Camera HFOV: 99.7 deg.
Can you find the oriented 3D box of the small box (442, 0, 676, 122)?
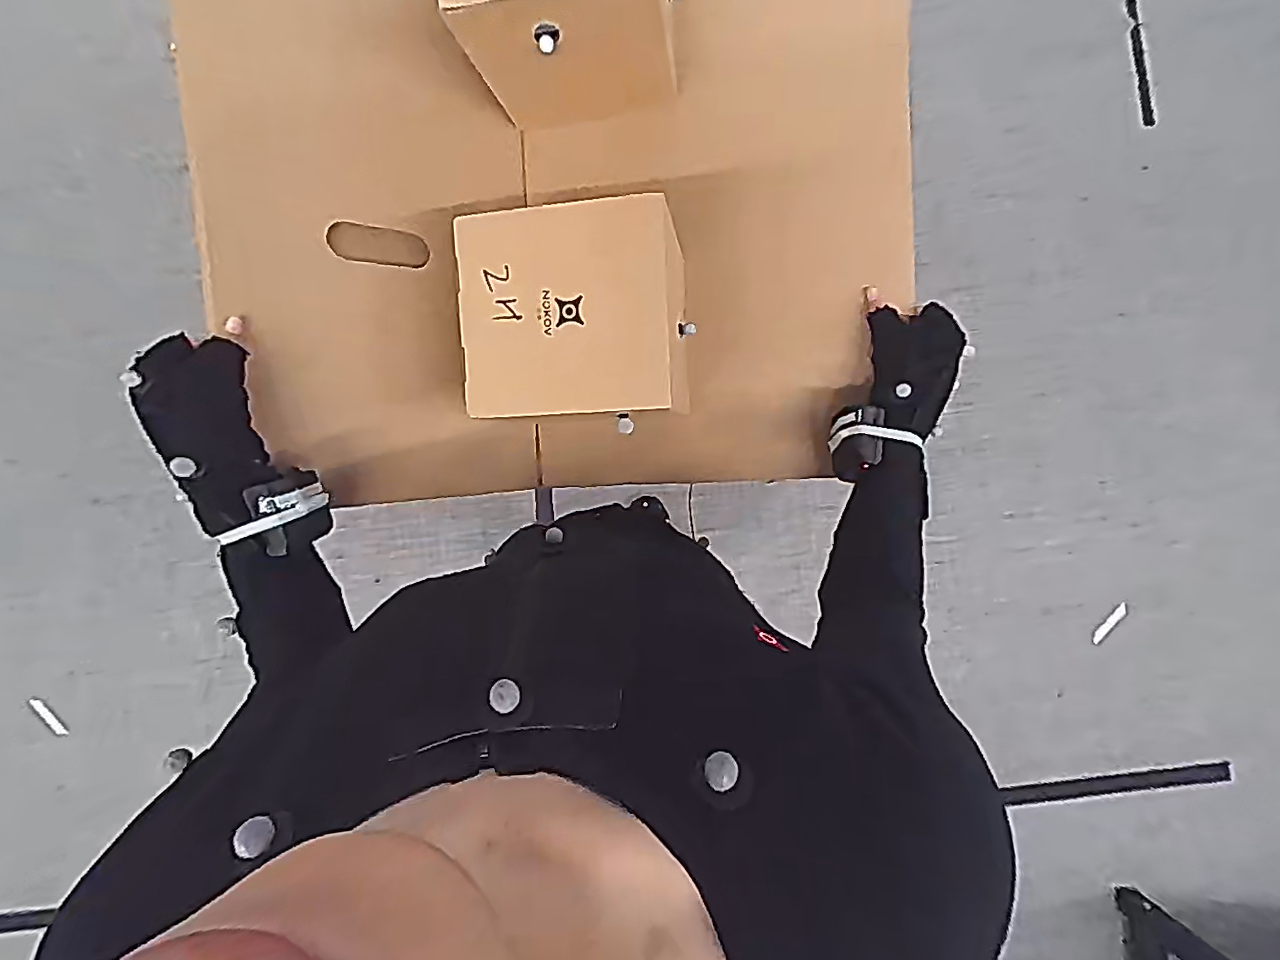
[{"bbox_3d":[-0.066,-0.466,0.498,0.179,0.176,0.168,-3,94,9],"label":"small box"}]

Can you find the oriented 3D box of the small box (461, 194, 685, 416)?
[{"bbox_3d":[-0.048,-0.149,0.520,0.179,0.176,0.168,-1,94,11],"label":"small box"}]
